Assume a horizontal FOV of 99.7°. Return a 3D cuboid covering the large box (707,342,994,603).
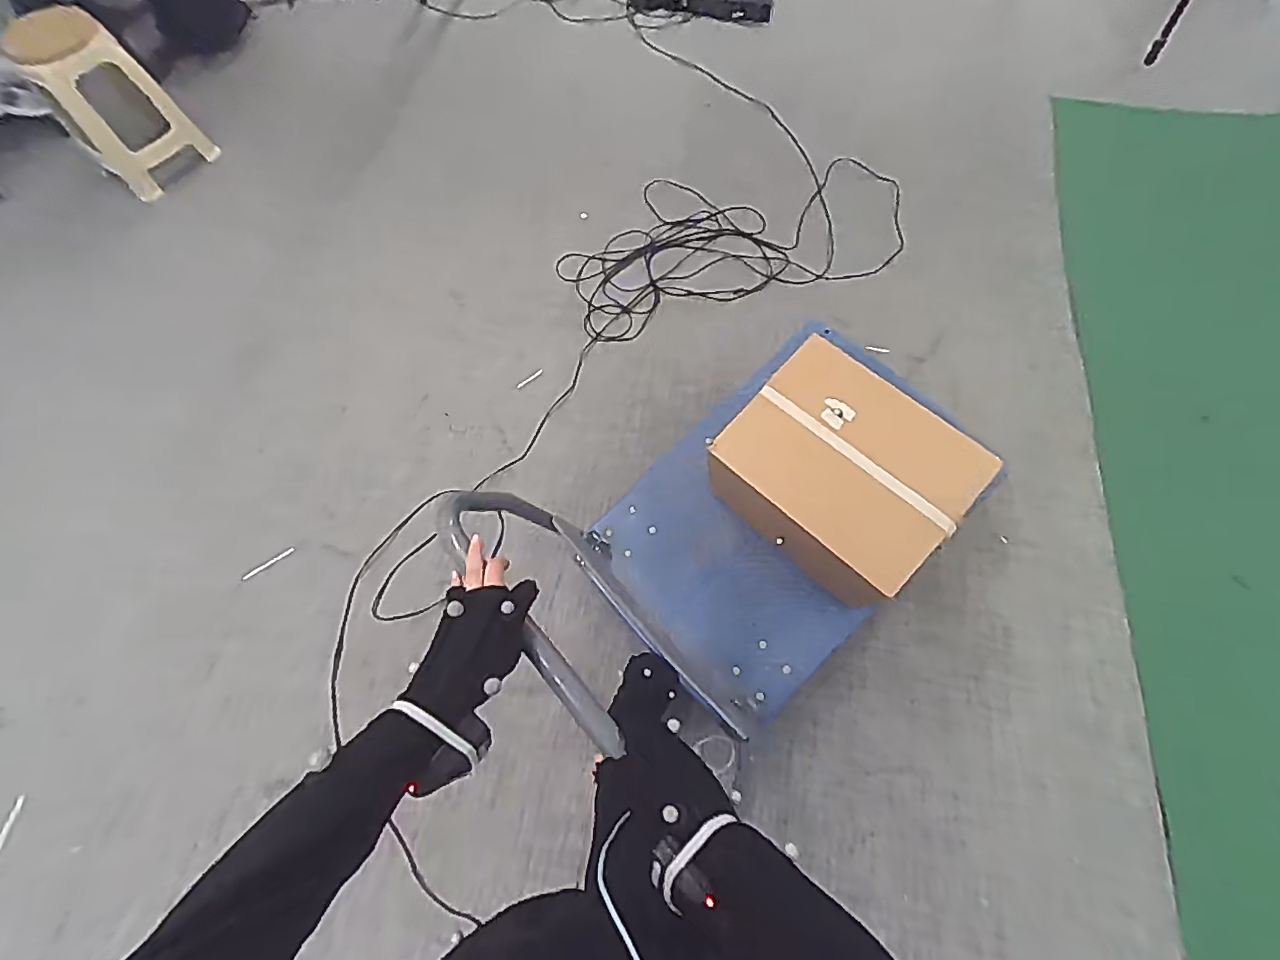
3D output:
[{"bbox_3d":[0.397,0.002,1.117,0.408,0.320,0.320,41,84,18],"label":"large box"}]
